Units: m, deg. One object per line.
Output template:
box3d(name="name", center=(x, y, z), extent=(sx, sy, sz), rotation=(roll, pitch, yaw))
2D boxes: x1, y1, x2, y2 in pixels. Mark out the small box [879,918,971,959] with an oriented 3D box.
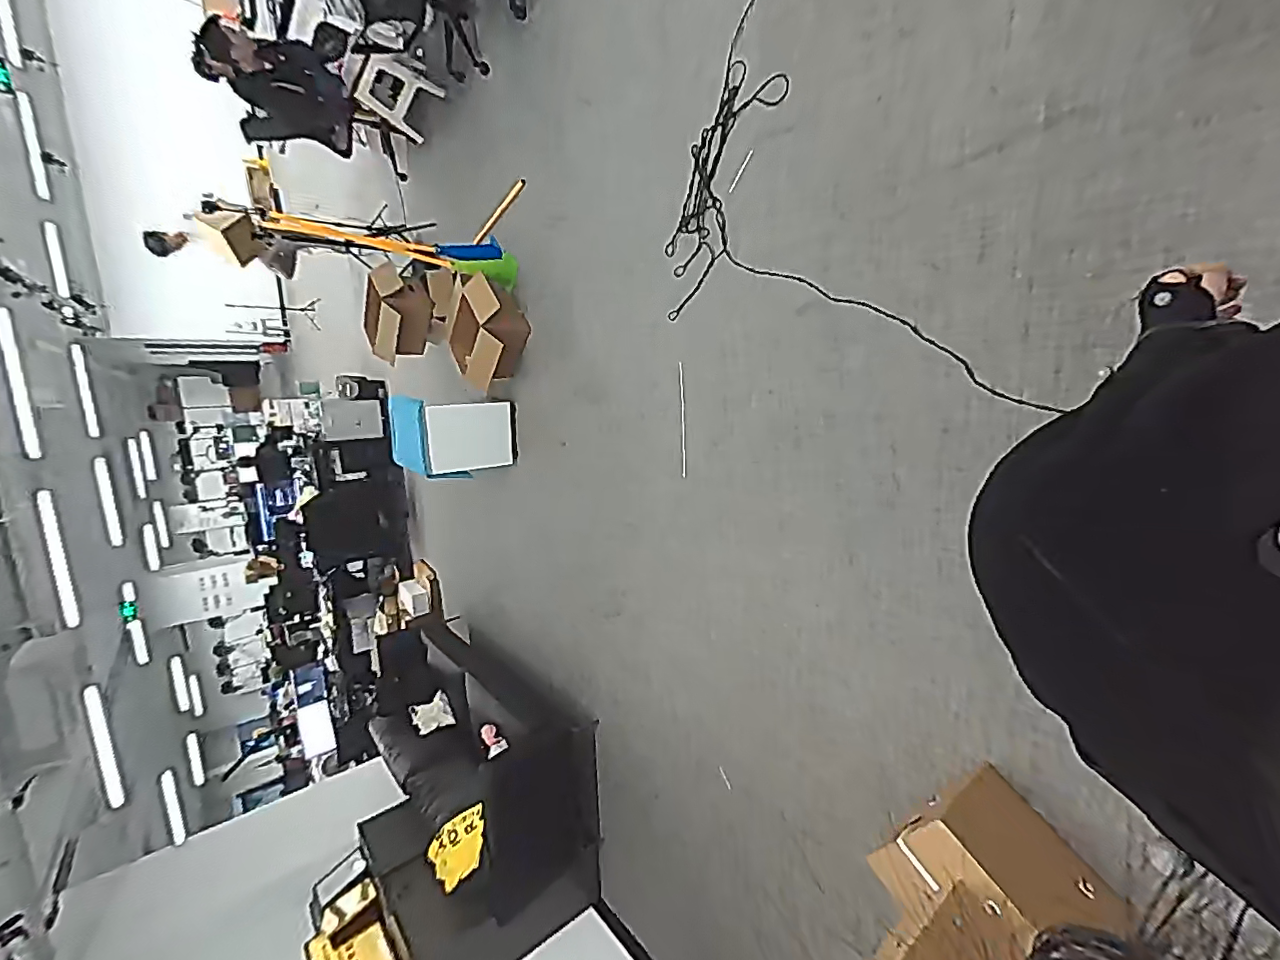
box3d(name="small box", center=(0.605, 1.069, 1.118), extent=(0.179, 0.176, 0.168), rotation=(50, 134, 35))
